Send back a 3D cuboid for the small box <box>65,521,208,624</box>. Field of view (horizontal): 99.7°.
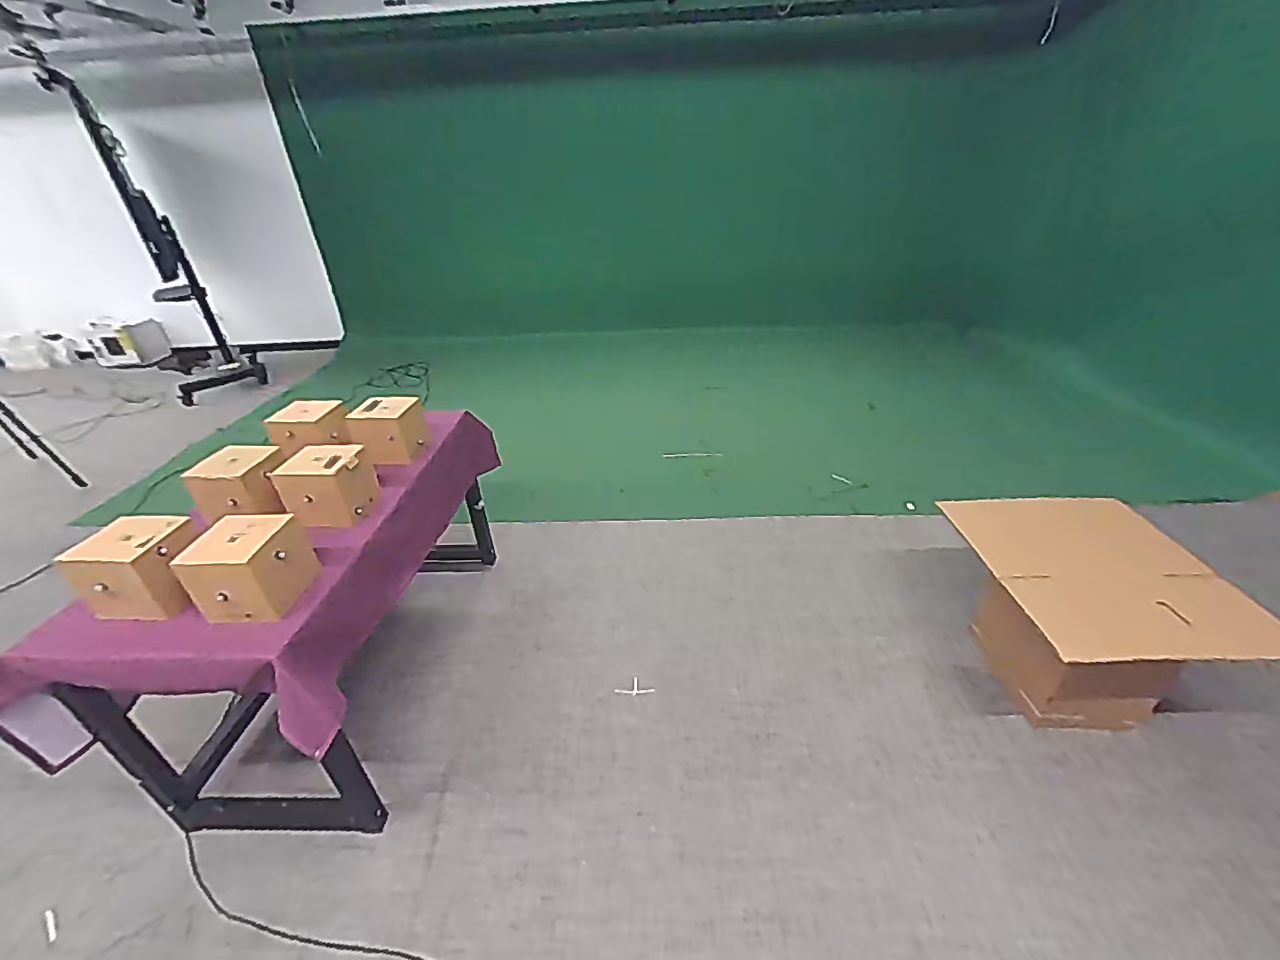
[{"bbox_3d":[-1.110,0.210,1.230,0.179,0.176,0.168,-1,31,5],"label":"small box"}]

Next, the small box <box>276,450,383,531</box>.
[{"bbox_3d":[-0.850,0.029,1.503,0.179,0.176,0.168,-2,31,6],"label":"small box"}]

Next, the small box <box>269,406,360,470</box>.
[{"bbox_3d":[-1.077,-0.135,1.807,0.179,0.176,0.168,0,31,7],"label":"small box"}]

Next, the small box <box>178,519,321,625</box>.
[{"bbox_3d":[-0.853,0.206,1.206,0.168,0.176,0.179,-2,31,4],"label":"small box"}]

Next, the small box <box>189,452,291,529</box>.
[{"bbox_3d":[-1.099,0.034,1.527,0.168,0.176,0.179,1,31,7],"label":"small box"}]
